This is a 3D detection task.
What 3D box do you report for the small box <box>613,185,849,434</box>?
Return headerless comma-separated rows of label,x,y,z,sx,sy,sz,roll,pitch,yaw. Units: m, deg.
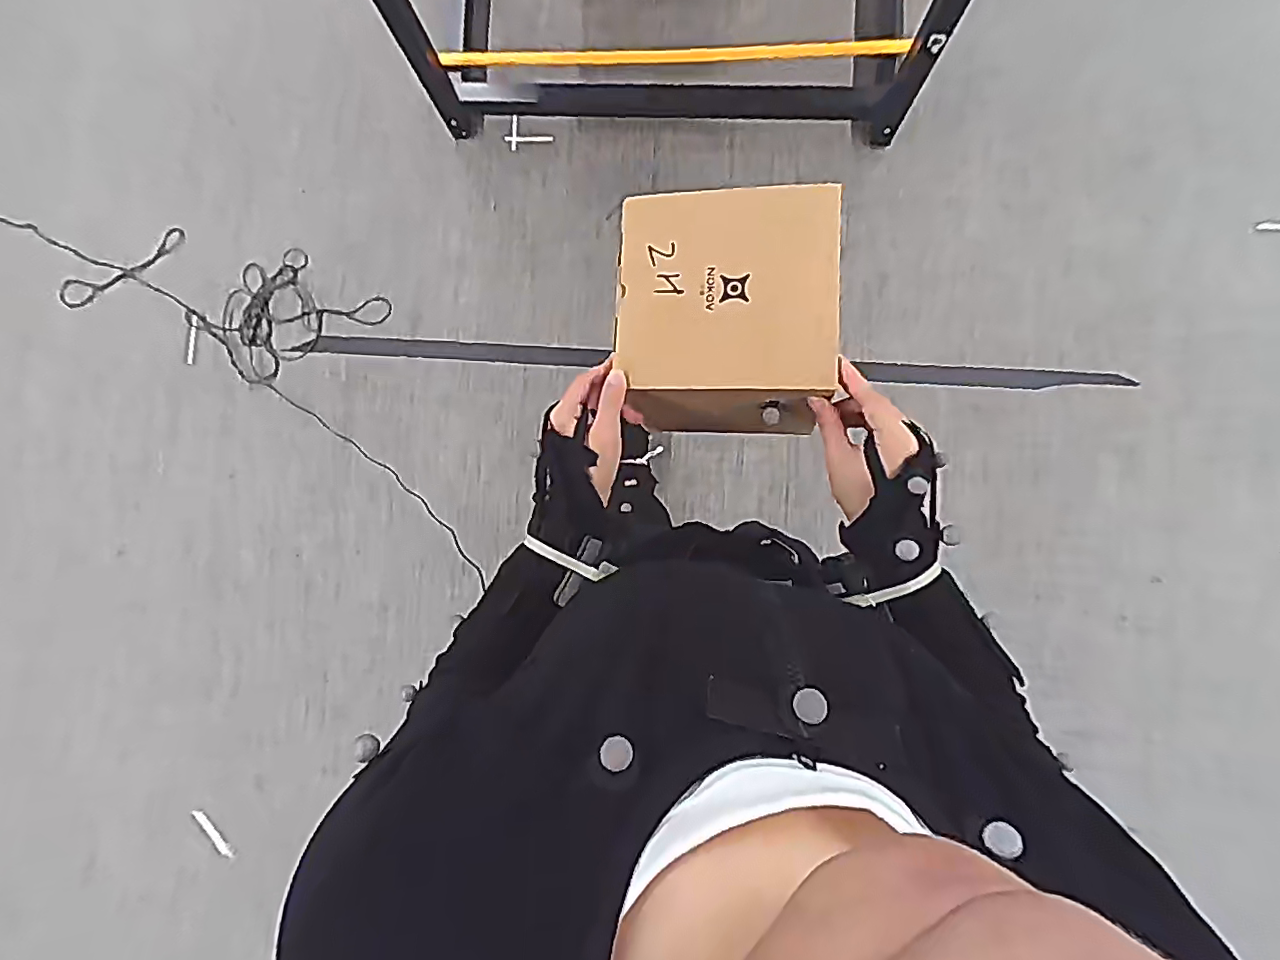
small box,0.085,-0.141,0.501,0.179,0.176,0.168,3,83,12
